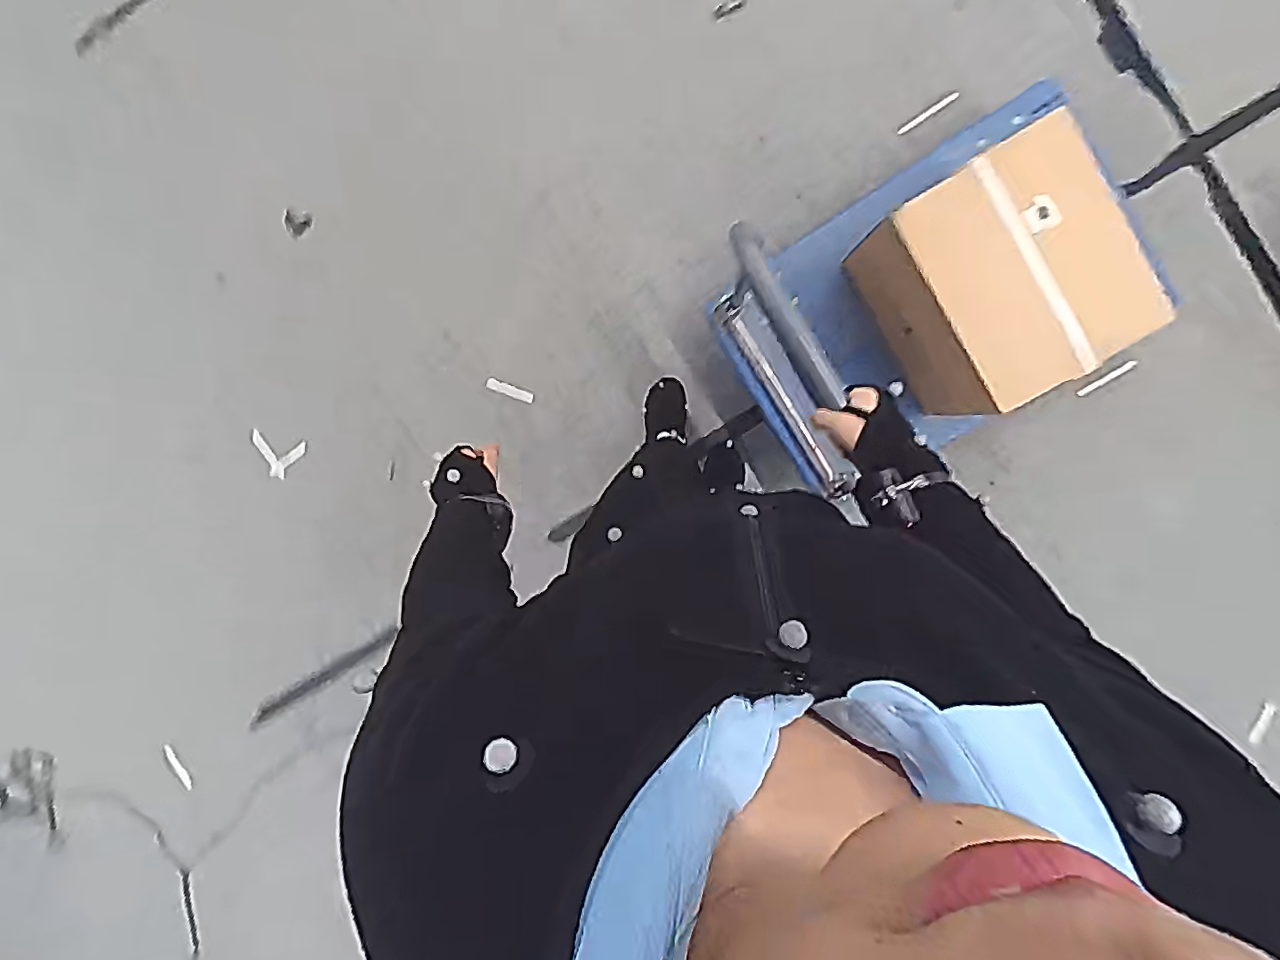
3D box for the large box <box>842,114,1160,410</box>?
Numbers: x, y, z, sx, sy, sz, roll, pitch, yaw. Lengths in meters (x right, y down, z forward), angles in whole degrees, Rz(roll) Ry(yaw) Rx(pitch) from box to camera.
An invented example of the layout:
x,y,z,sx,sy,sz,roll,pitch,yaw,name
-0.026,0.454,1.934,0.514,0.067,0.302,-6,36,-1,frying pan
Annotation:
x,y,z,sx,sy,sz,roll,pitch,yaw,name
0.675,-0.390,1.084,0.320,0.320,0.408,-31,92,7,large box
